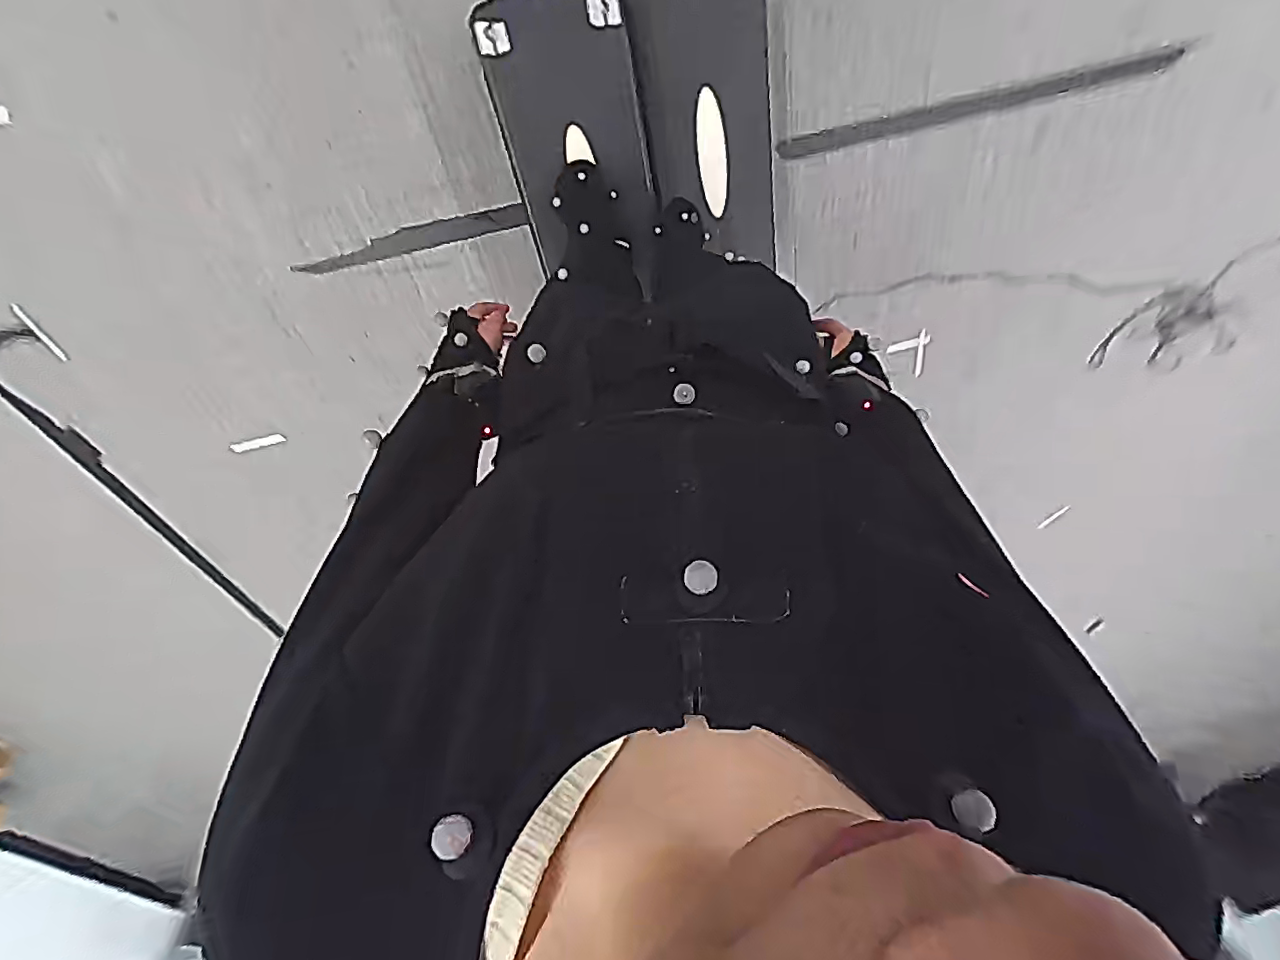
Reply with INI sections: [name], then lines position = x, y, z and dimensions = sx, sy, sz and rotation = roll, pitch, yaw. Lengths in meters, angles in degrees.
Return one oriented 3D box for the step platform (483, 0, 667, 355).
[step platform]
position = -0.116, -0.622, 1.195
dimensions = 0.286, 0.204, 0.684
rotation = -11, 126, -2
